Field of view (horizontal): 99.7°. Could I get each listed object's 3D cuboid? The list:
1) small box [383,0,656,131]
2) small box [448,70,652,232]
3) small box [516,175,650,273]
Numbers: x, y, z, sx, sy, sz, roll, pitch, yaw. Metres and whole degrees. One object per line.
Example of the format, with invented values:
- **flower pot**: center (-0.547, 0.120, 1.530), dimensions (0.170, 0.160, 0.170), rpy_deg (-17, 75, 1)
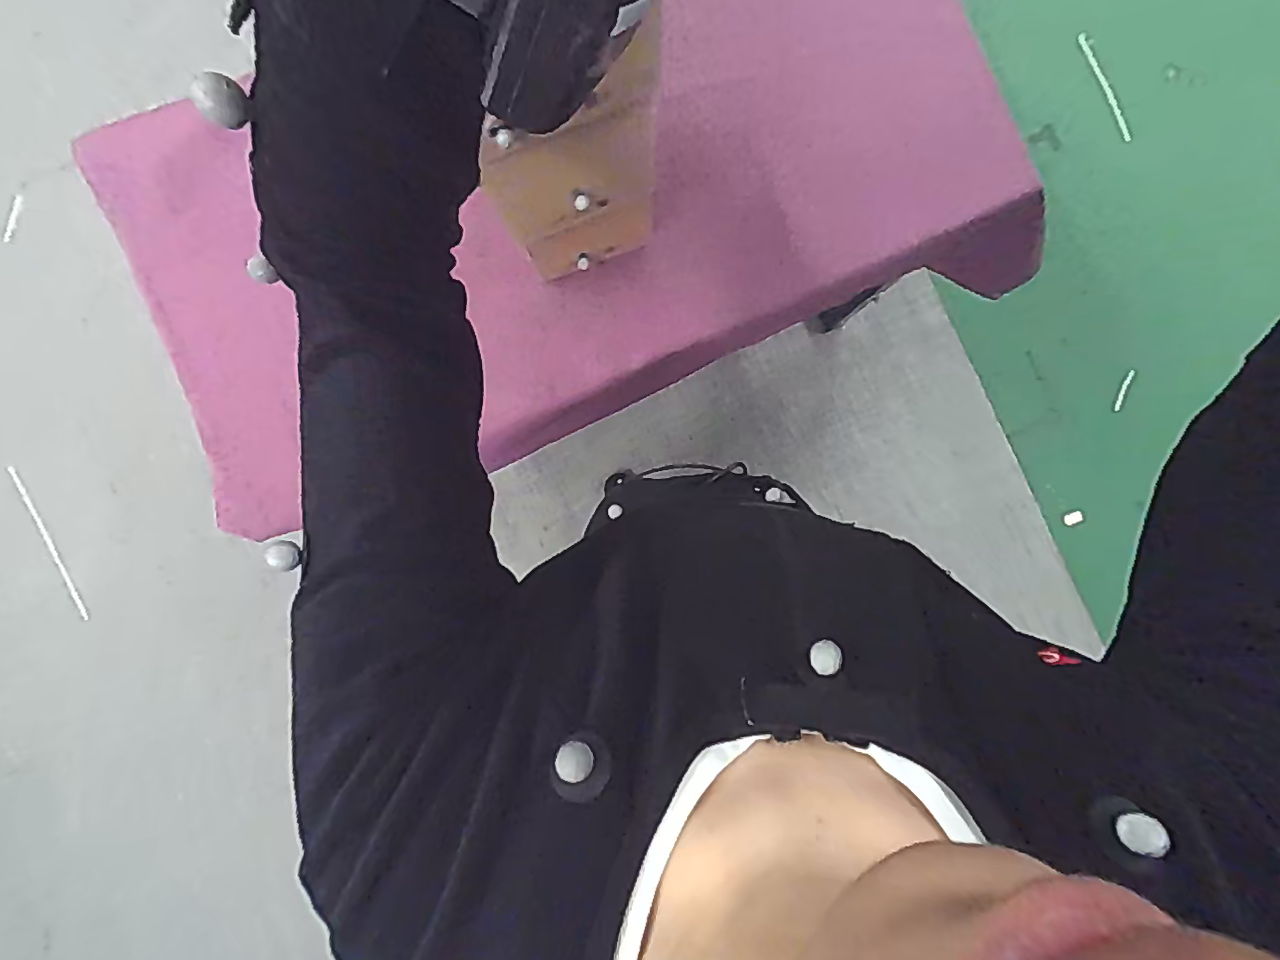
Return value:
- **small box**: center (-0.092, -0.370, 0.352), dimensions (0.168, 0.176, 0.179), rpy_deg (-21, 89, 2)
- **small box**: center (-0.095, -0.378, 0.516), dimensions (0.168, 0.176, 0.179), rpy_deg (-22, 90, 2)
- **small box**: center (-0.094, -0.395, 0.679), dimensions (0.168, 0.176, 0.179), rpy_deg (-20, 90, 2)
